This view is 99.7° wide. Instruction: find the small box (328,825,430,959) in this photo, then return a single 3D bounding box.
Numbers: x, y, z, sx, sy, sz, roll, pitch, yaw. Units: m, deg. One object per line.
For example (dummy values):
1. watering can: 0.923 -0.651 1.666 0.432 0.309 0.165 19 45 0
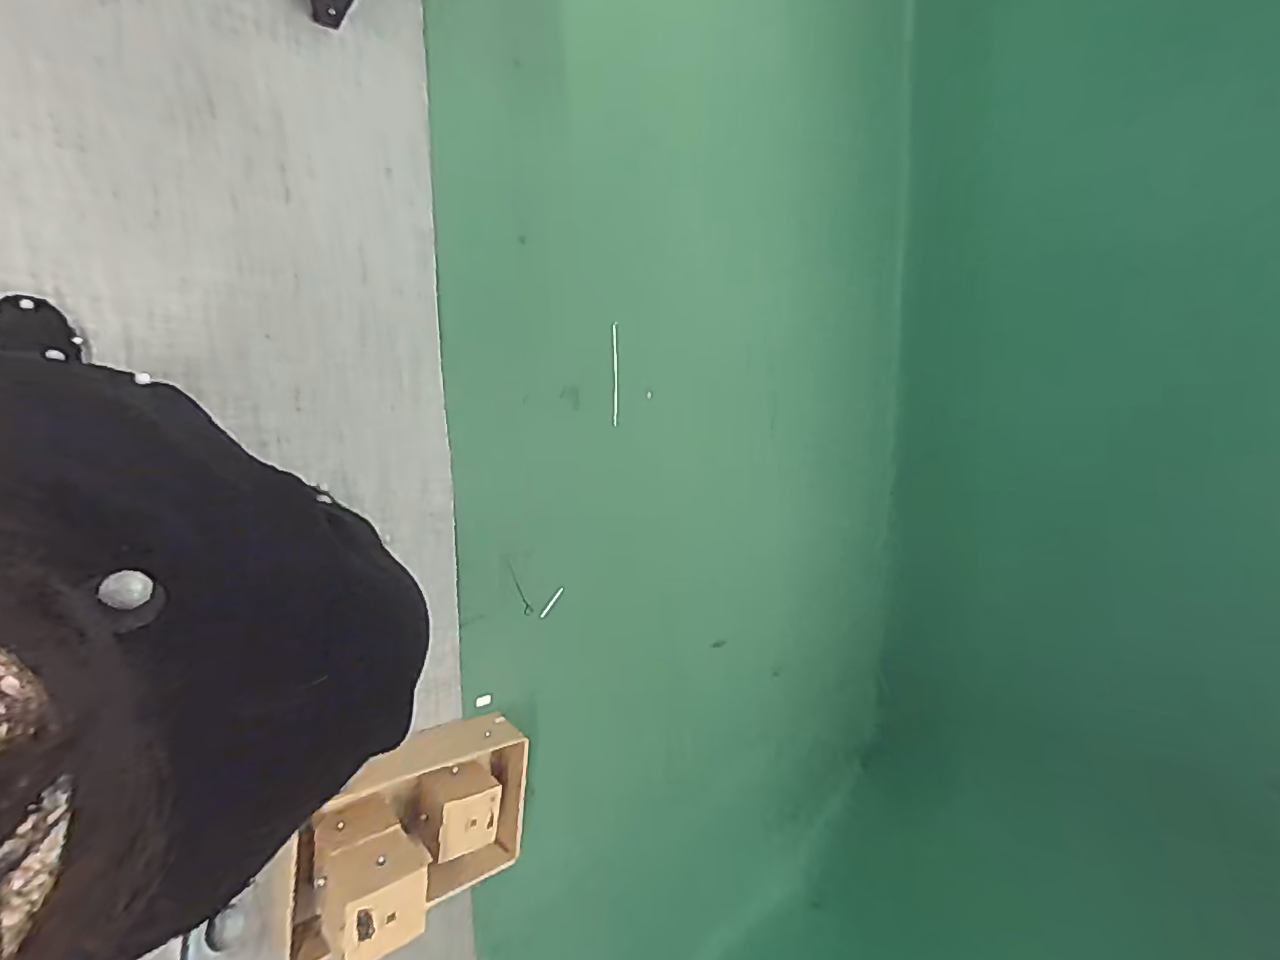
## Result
1. small box: -0.611 0.956 1.260 0.179 0.176 0.168 1 95 -45
